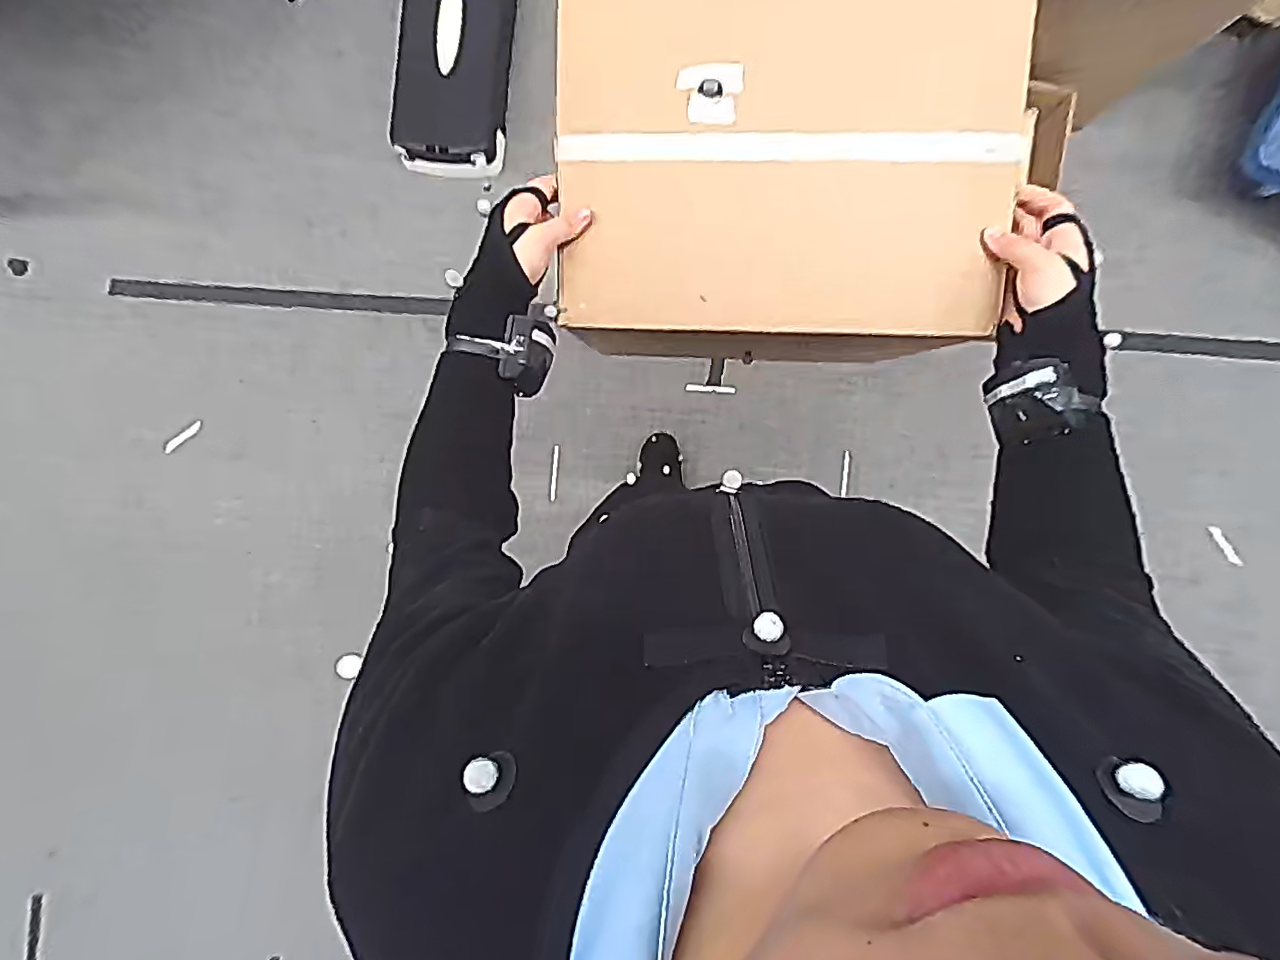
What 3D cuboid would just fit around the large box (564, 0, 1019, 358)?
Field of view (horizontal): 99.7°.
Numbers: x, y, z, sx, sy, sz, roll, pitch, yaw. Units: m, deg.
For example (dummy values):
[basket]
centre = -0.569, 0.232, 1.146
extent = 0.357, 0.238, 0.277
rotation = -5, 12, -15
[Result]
[large box]
centre = 0.139, -0.314, 0.641
extent = 0.408, 0.320, 0.320
rotation = 2, 96, 4
